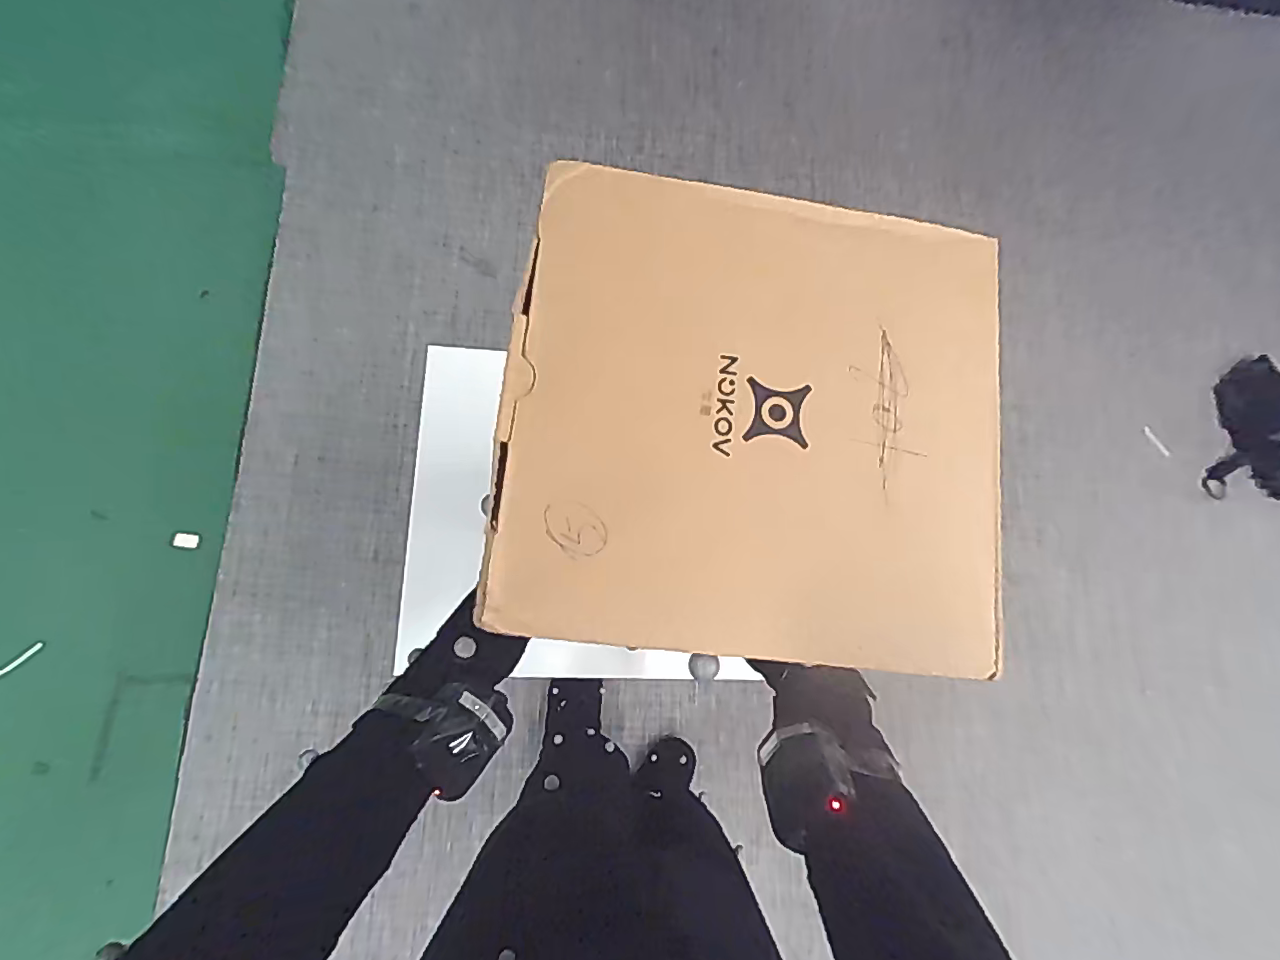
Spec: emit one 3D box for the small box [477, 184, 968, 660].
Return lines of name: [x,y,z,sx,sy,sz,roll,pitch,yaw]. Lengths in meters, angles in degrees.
small box: [0.029,-0.010,0.277,0.179,0.176,0.168,6,80,-7]
